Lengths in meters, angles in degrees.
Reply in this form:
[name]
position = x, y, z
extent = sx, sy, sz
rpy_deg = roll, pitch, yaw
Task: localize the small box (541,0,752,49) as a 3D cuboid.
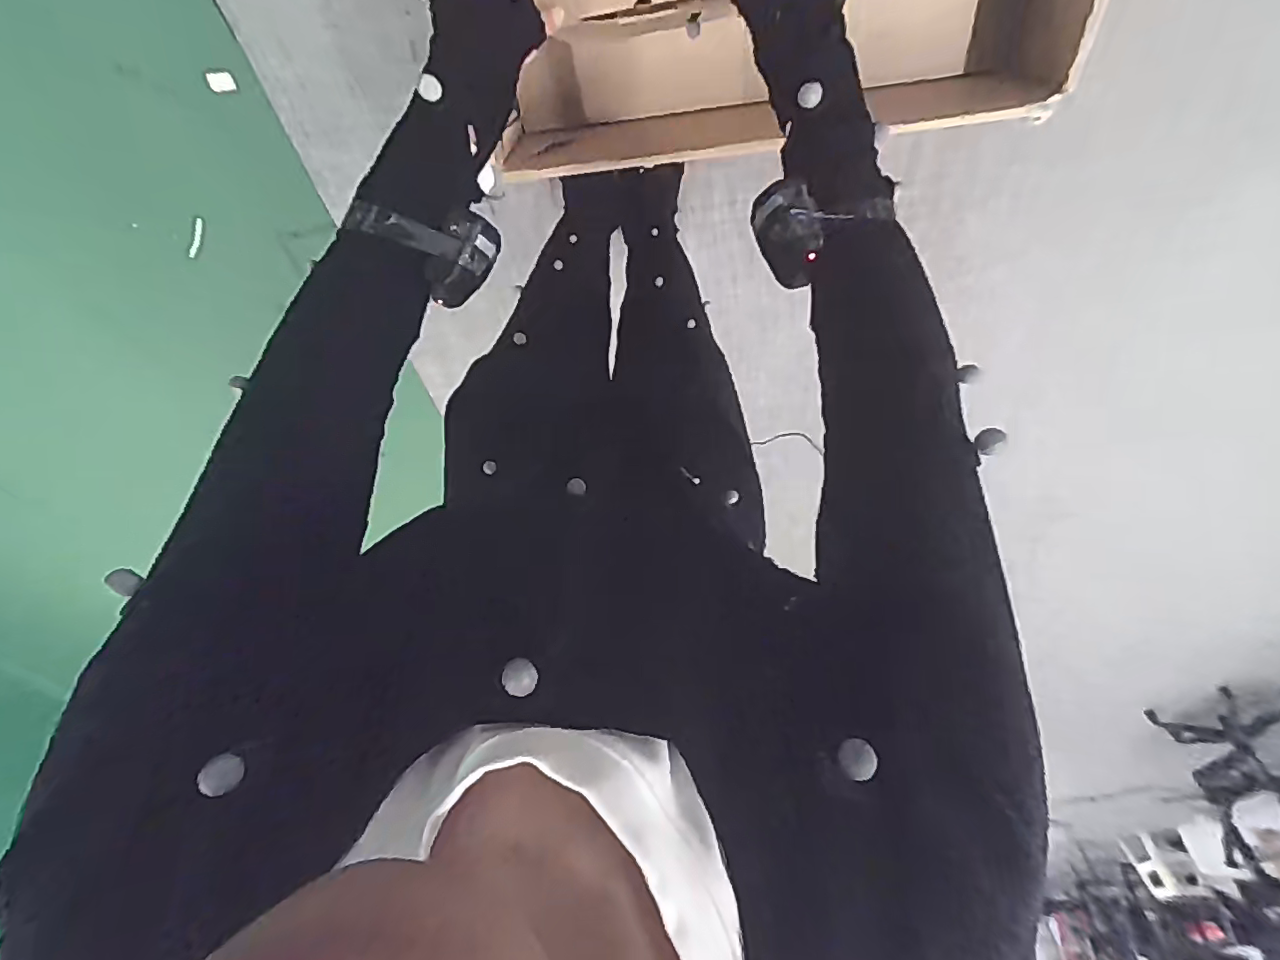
[small box]
position = 0.003, -0.468, 0.432
extent = 0.168, 0.176, 0.179
rpy_deg = -5, 123, 8
